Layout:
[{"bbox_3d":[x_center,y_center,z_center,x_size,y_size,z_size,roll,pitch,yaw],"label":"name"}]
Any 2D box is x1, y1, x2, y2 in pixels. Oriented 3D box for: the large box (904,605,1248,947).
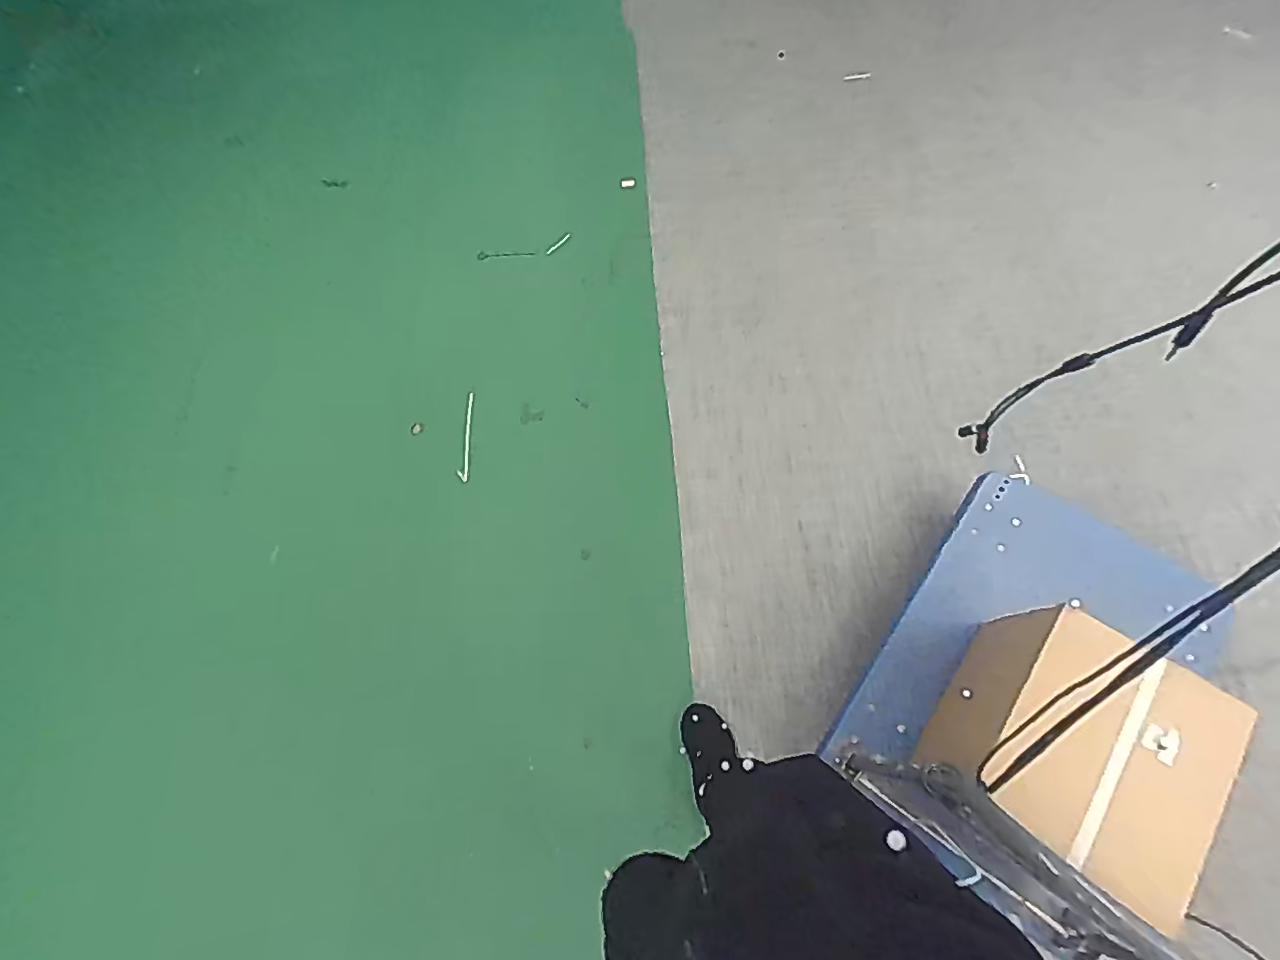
[{"bbox_3d":[0.775,0.511,1.016,0.320,0.320,0.408,34,75,16],"label":"large box"}]
